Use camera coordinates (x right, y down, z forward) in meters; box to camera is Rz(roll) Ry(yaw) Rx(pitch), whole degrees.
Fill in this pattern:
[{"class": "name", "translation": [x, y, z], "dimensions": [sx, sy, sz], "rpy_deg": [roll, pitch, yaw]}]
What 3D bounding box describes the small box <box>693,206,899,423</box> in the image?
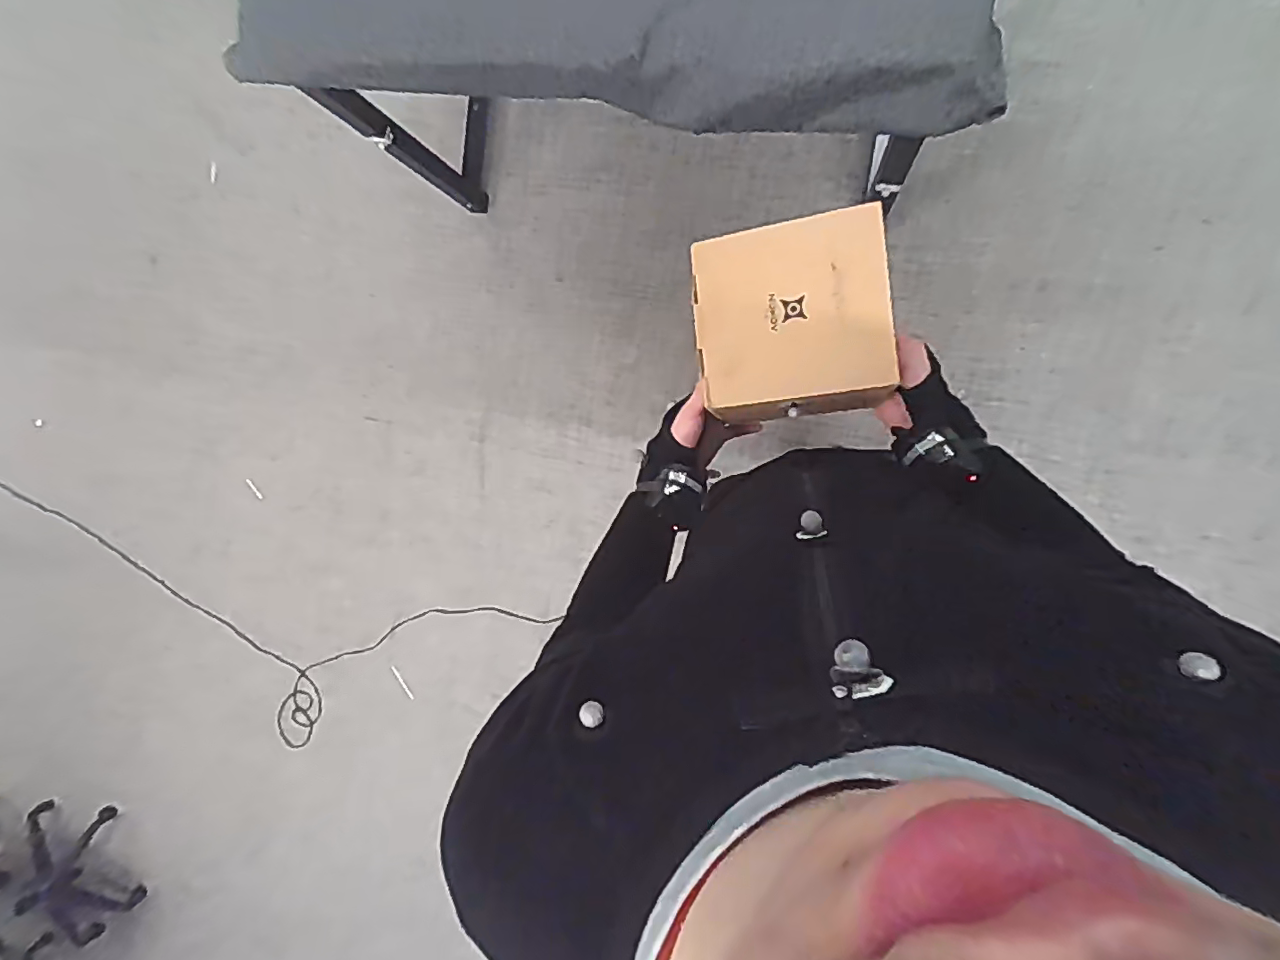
[{"class": "small box", "translation": [0.164, -0.157, 0.580], "dimensions": [0.179, 0.176, 0.168], "rpy_deg": [-5, 89, 16]}]
